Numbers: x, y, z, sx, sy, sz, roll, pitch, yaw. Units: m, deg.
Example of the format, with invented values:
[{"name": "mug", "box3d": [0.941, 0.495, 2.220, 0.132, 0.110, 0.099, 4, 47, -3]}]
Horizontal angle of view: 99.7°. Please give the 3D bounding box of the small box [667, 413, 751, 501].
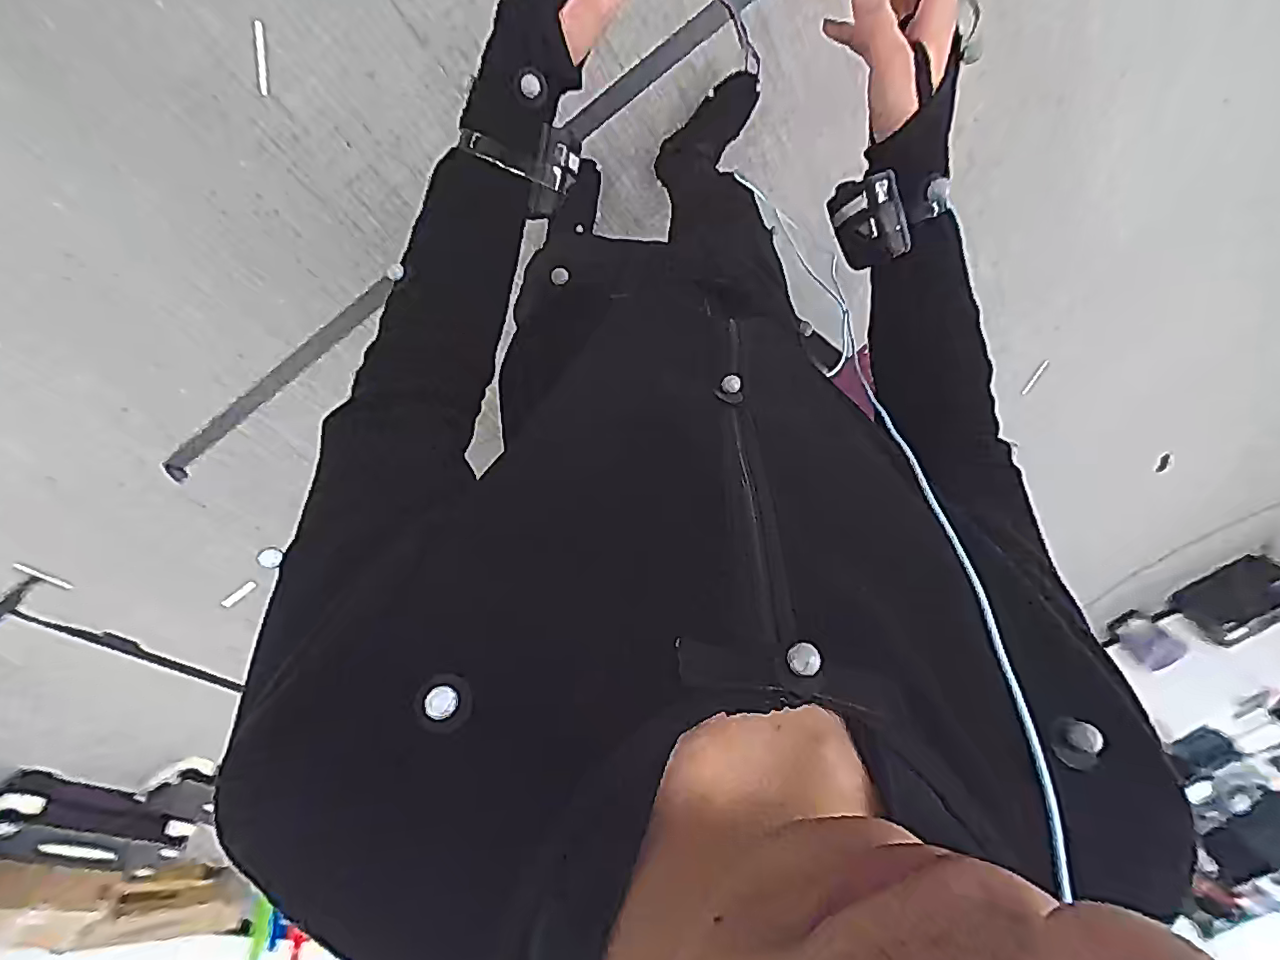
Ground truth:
[{"name": "small box", "box3d": [0.207, -0.074, 1.668, 0.179, 0.176, 0.168, -34, 128, 14]}]
